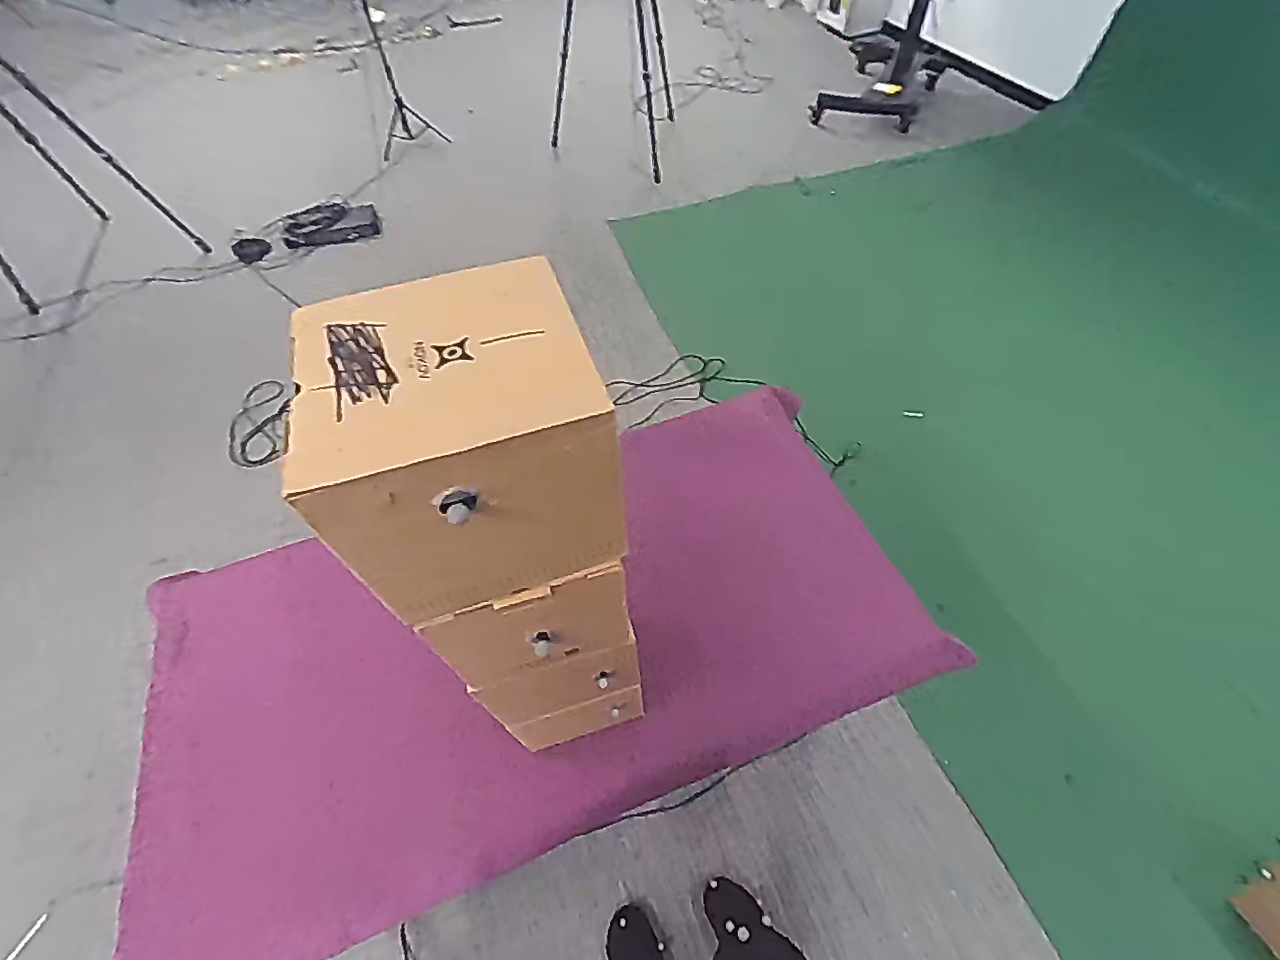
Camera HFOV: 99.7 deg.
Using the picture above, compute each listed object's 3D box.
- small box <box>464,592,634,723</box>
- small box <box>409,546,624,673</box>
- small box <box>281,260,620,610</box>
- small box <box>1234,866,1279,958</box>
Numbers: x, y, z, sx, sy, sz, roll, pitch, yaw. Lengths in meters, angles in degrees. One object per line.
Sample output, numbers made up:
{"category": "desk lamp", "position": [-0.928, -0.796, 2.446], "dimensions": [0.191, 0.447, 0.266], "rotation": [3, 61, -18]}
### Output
{"category": "small box", "position": [-0.110, 0.172, 0.656], "dimensions": [0.179, 0.176, 0.168], "rotation": [-15, 55, -8]}
{"category": "small box", "position": [-0.117, 0.071, 0.528], "dimensions": [0.168, 0.176, 0.179], "rotation": [-15, 55, -9]}
{"category": "small box", "position": [-0.123, -0.028, 0.397], "dimensions": [0.179, 0.176, 0.168], "rotation": [-16, 55, -11]}
{"category": "small box", "position": [1.443, 0.942, 1.131], "dimensions": [0.168, 0.176, 0.179], "rotation": [-21, 57, -13]}
